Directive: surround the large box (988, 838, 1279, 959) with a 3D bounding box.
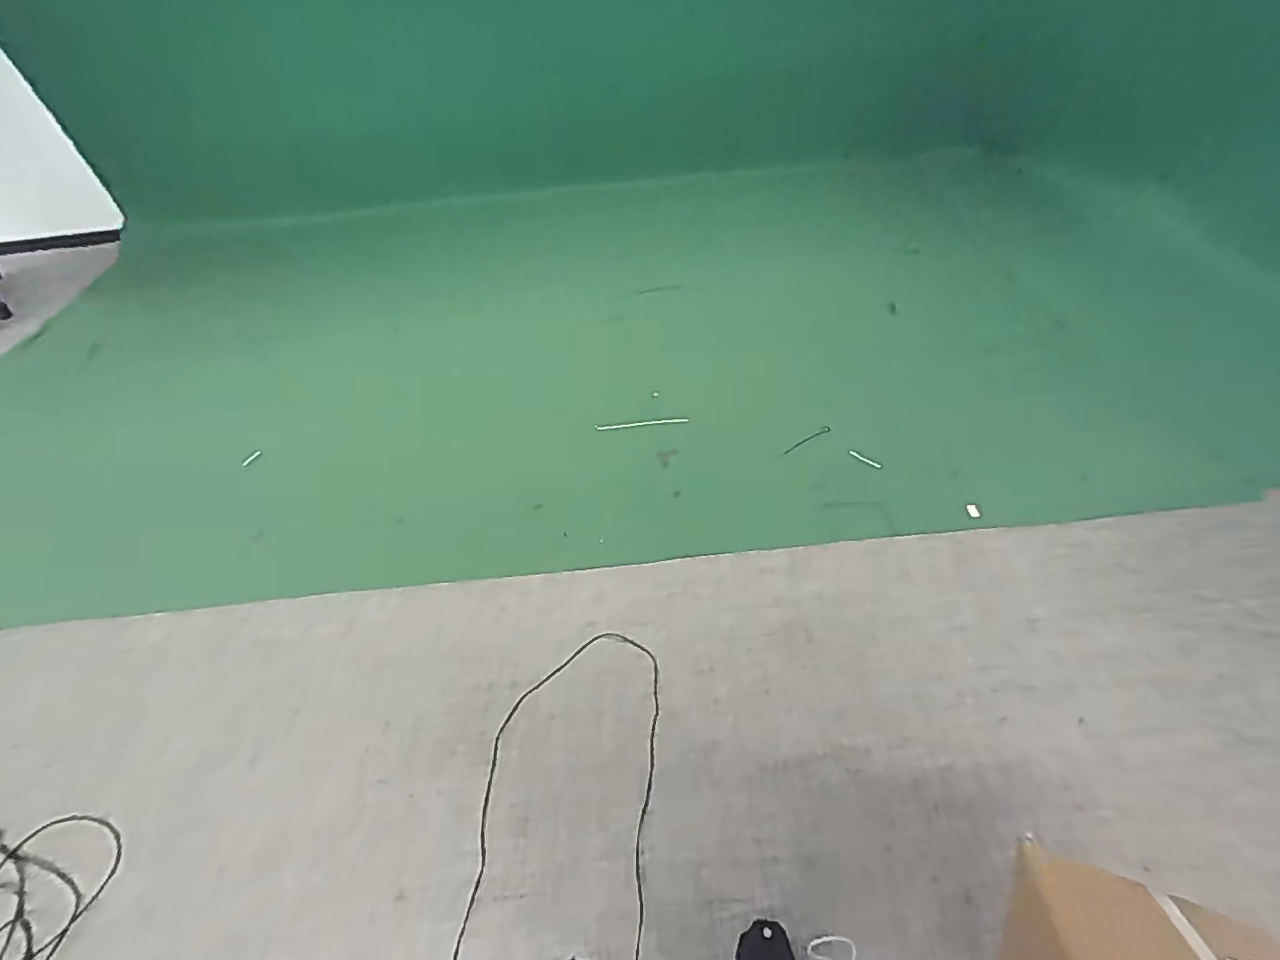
[{"bbox_3d":[0.592,0.701,0.571,0.320,0.408,0.320,14,92,22],"label":"large box"}]
